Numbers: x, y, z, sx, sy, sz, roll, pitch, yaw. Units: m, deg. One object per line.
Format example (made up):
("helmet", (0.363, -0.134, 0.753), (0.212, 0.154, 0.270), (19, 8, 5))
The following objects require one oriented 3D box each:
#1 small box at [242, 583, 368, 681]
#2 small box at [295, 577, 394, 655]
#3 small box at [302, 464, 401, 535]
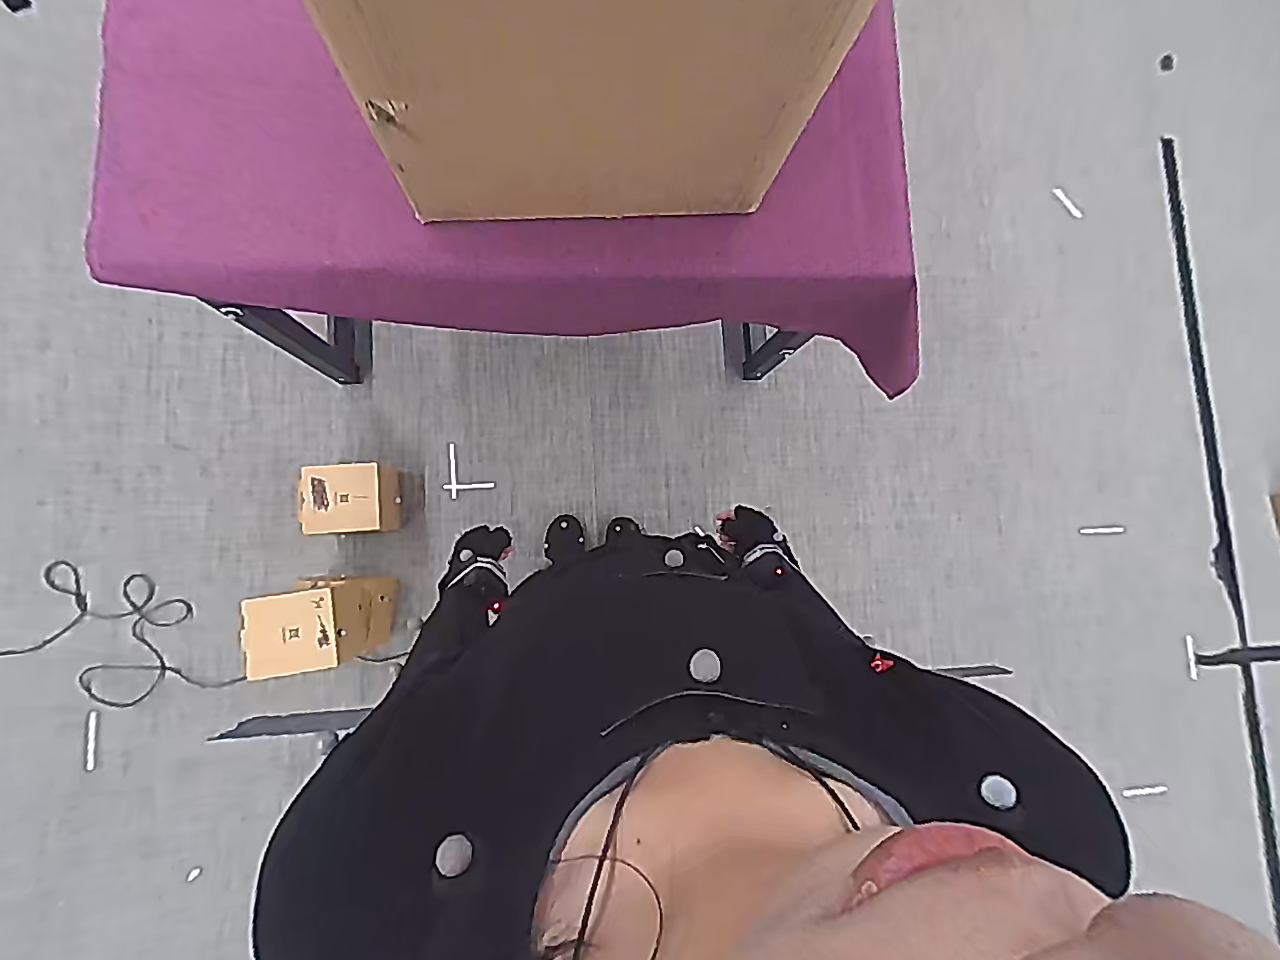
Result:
("small box", (-0.720, 0.322, 1.176), (0.179, 0.176, 0.168), (-7, 85, -7))
("small box", (-0.728, 0.331, 1.340), (0.179, 0.176, 0.168), (3, 84, -6))
("small box", (-0.721, 0.053, 1.363), (0.179, 0.176, 0.168), (-3, 86, -8))
